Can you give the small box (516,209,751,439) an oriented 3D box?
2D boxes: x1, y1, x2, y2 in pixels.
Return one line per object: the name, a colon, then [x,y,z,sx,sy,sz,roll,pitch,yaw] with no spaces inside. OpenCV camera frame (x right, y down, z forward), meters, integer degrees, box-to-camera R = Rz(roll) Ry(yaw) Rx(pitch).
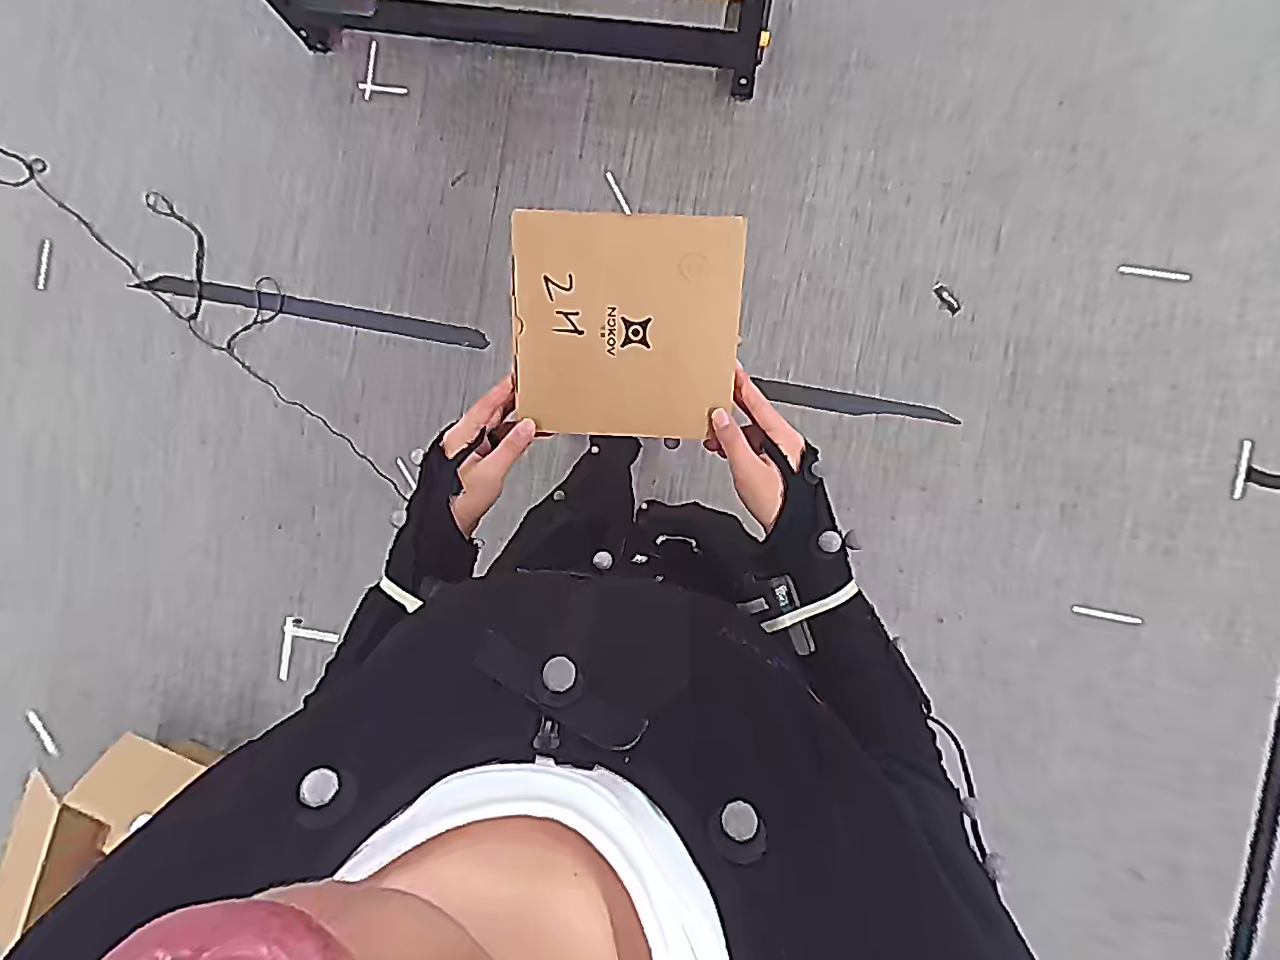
small box: [-0.006,-0.139,0.494,0.179,0.176,0.168,3,106,2]
